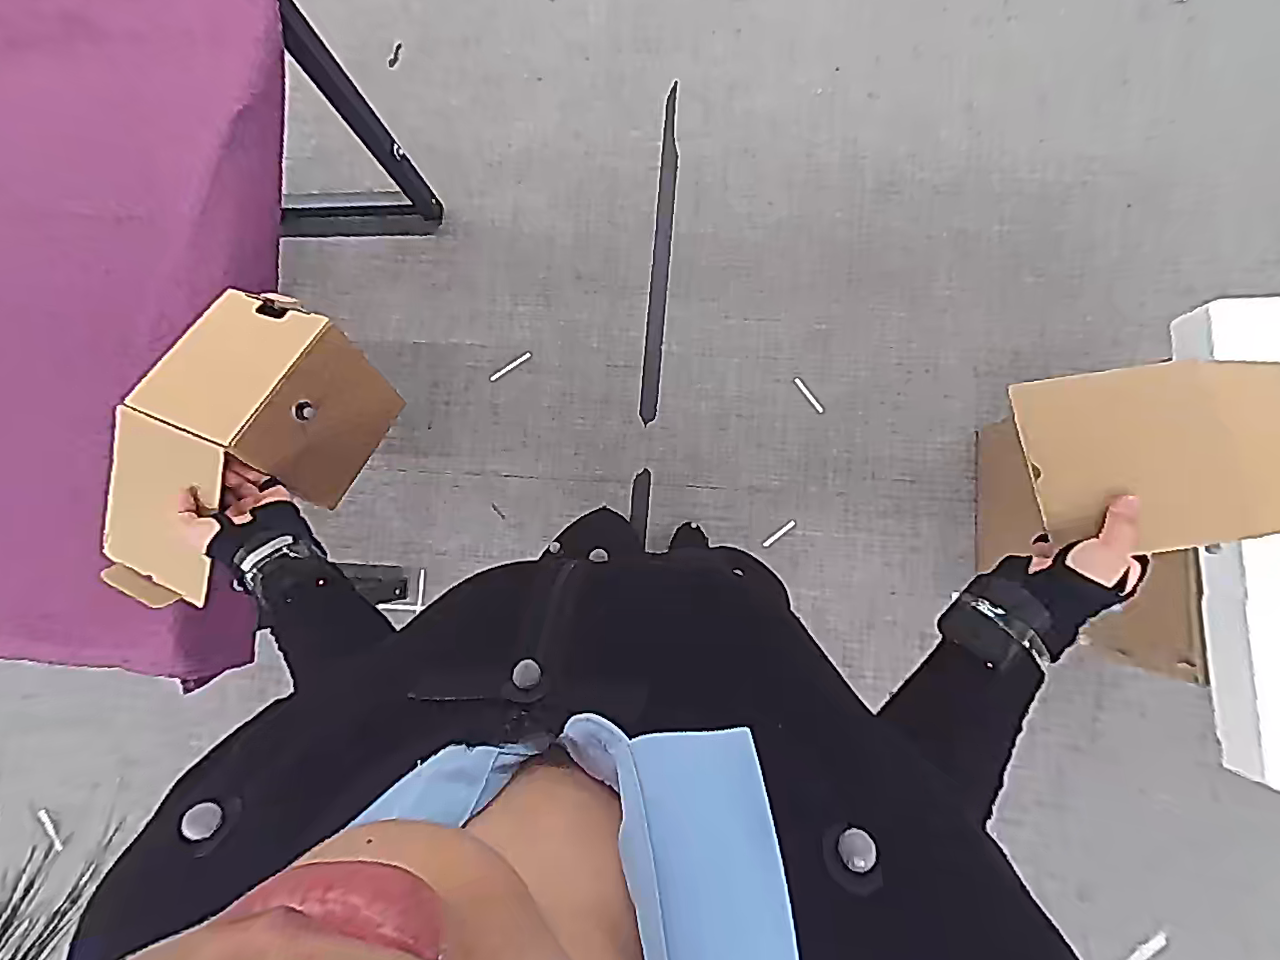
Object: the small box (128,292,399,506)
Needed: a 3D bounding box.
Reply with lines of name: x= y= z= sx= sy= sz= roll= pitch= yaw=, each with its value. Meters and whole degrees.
small box: x=-0.434 y=-0.091 z=0.658 sx=0.168 sy=0.176 sz=0.179 roll=19 pitch=68 yaw=16
